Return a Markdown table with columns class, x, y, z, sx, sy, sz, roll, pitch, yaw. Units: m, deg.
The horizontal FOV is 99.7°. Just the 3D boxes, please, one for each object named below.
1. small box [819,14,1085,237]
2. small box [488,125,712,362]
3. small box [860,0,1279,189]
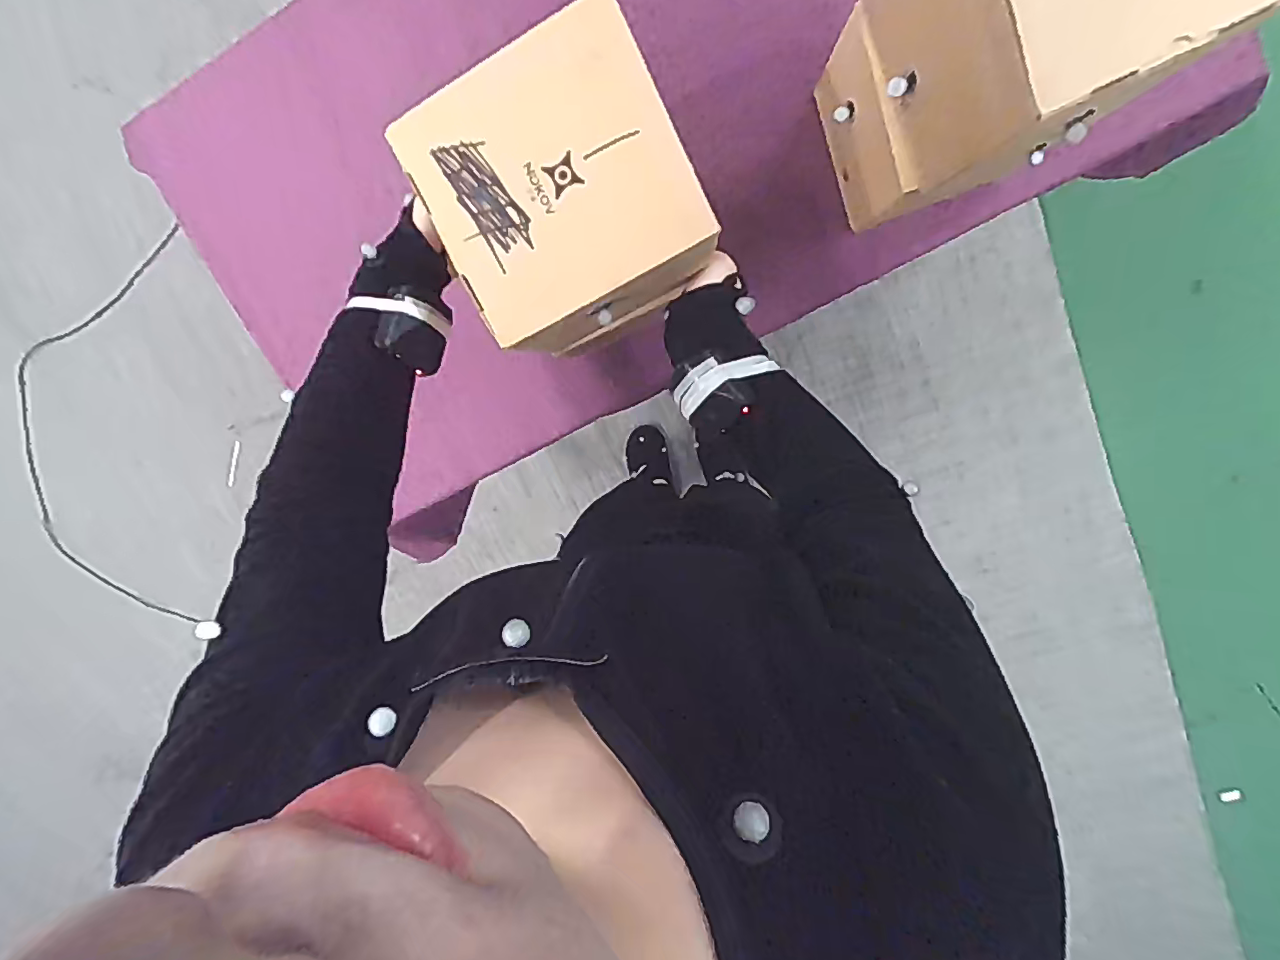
| class | x | y | z | sx | sy | sz | roll | pitch | yaw |
| --- | --- | --- | --- | --- | --- | --- | --- | --- | --- |
| small box | 0.298 | -0.374 | 0.554 | 0.179 | 0.176 | 0.168 | -19 | 100 | 8 |
| small box | -0.036 | -0.246 | 0.609 | 0.179 | 0.176 | 0.168 | -25 | 100 | 8 |
| small box | 0.287 | -0.340 | 0.393 | 0.168 | 0.176 | 0.179 | -23 | 100 | 8 |
